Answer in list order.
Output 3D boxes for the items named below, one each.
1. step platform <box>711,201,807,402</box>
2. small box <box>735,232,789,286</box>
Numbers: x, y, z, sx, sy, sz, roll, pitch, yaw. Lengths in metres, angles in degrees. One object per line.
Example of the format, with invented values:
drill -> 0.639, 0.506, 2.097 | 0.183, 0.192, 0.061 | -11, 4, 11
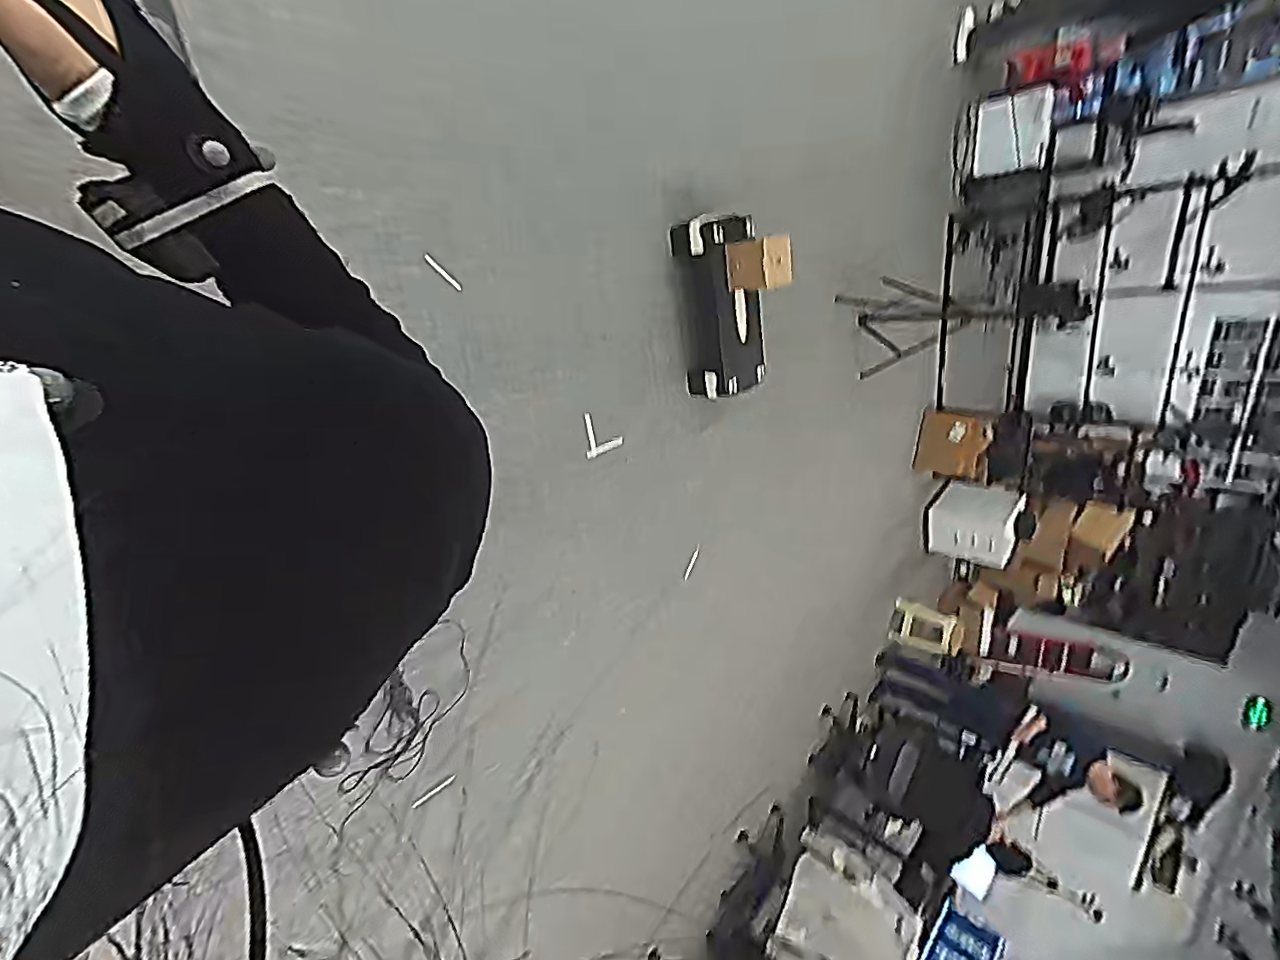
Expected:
step platform -> 0.447, -0.642, 2.003 | 0.286, 0.204, 0.684 | -28, 119, -37
small box -> 0.431, -0.815, 1.994 | 0.179, 0.176, 0.168 | -28, 119, -37
